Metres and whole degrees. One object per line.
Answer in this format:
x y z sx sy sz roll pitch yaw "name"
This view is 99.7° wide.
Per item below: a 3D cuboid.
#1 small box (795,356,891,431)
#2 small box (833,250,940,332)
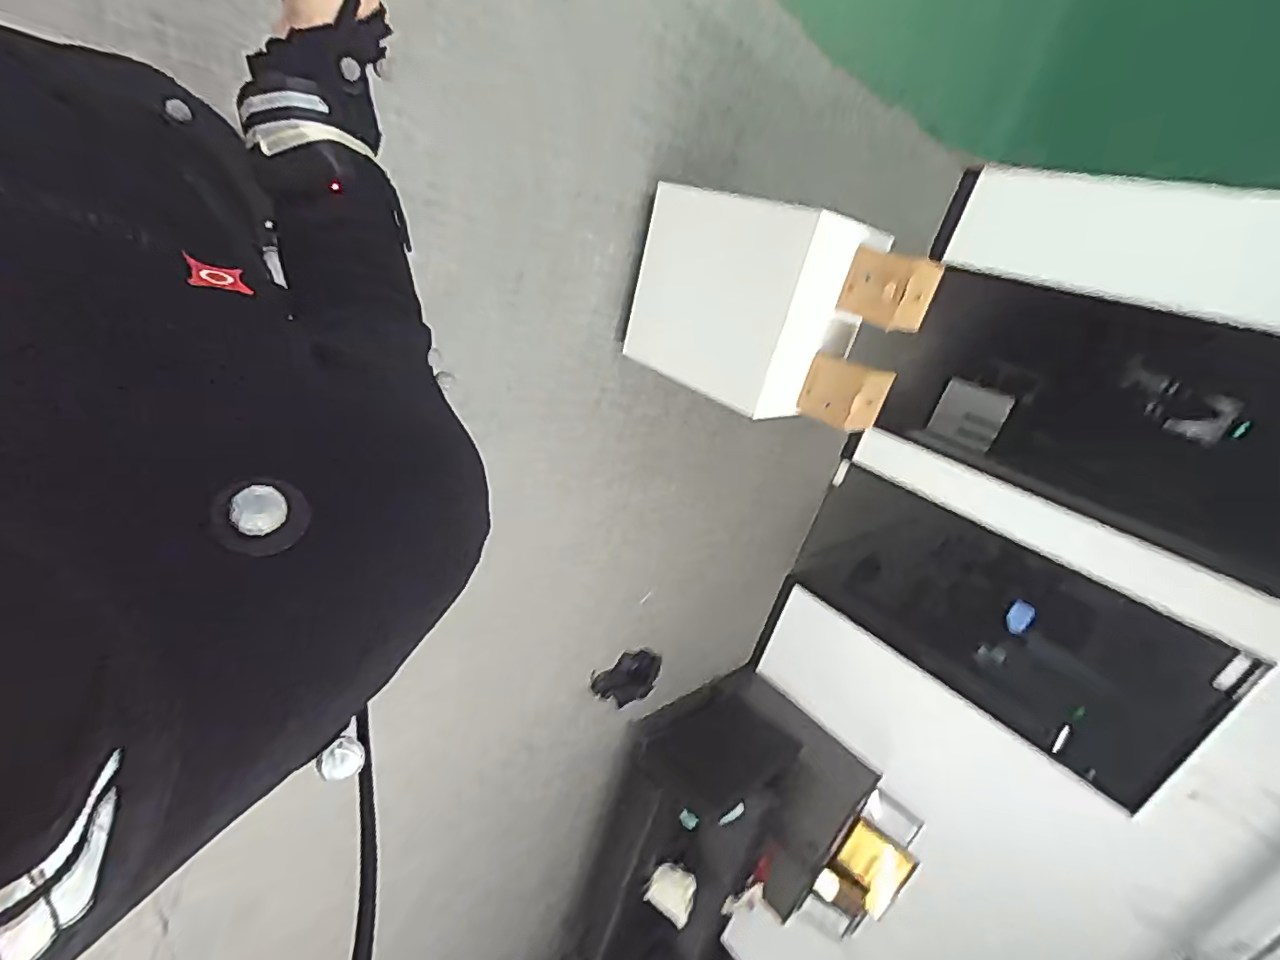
0.571 -0.247 1.536 0.179 0.176 0.168 -9 123 -44 "small box"
0.648 -0.501 1.430 0.179 0.176 0.168 -11 125 -40 "small box"
